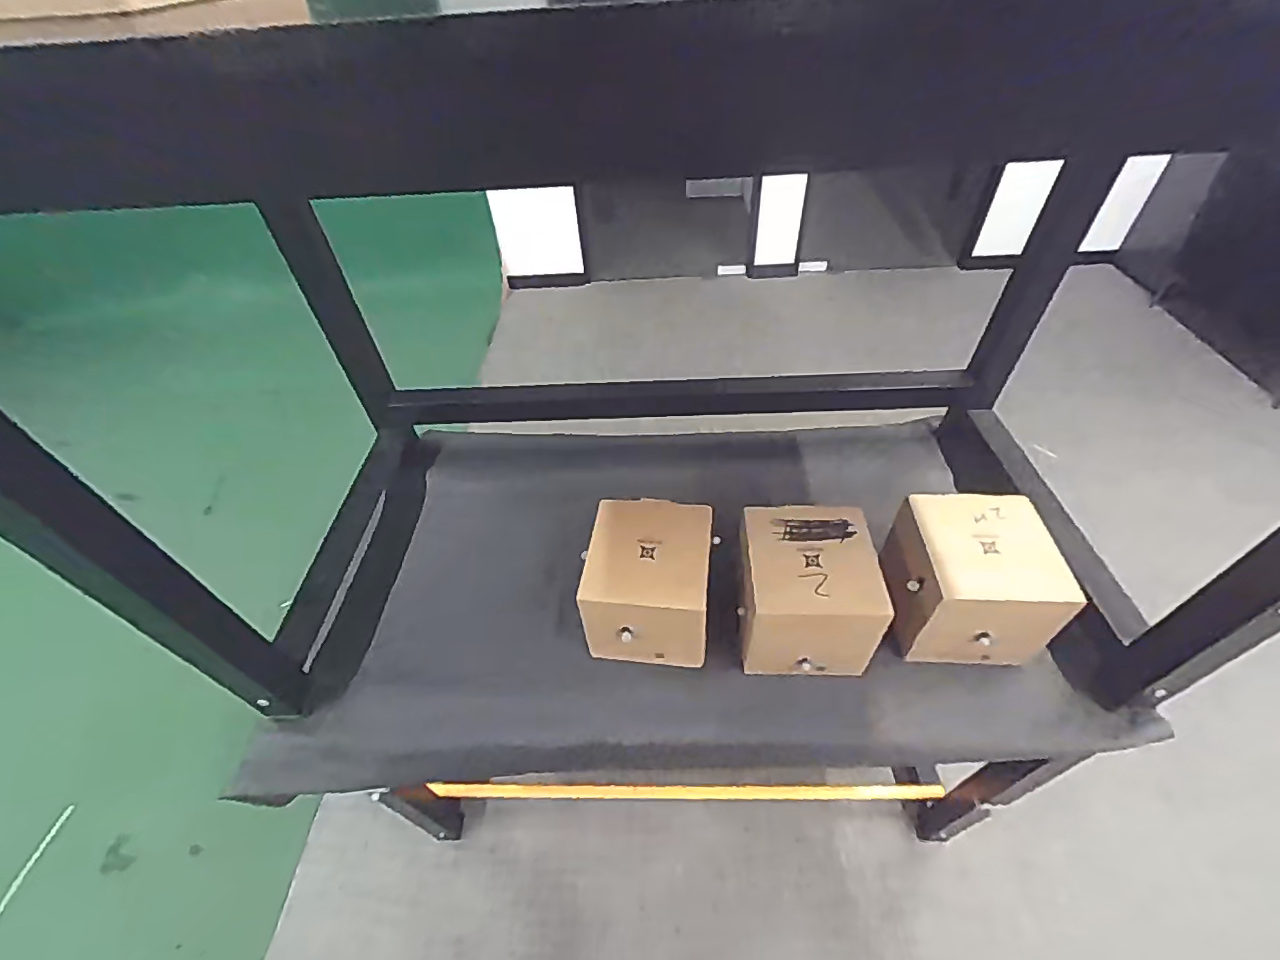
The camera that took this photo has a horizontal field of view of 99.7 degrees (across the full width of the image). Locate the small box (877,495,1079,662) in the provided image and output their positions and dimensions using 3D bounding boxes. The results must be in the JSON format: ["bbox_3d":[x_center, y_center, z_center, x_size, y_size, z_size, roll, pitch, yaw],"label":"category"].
[{"bbox_3d":[0.457,0.141,0.766,0.168,0.176,0.179,1,45,5],"label":"small box"}]

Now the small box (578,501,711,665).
[{"bbox_3d":[0.017,0.153,0.793,0.168,0.176,0.179,3,46,7],"label":"small box"}]

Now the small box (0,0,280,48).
[{"bbox_3d":[-0.328,-0.340,0.275,0.168,0.176,0.179,-1,47,4],"label":"small box"}]
